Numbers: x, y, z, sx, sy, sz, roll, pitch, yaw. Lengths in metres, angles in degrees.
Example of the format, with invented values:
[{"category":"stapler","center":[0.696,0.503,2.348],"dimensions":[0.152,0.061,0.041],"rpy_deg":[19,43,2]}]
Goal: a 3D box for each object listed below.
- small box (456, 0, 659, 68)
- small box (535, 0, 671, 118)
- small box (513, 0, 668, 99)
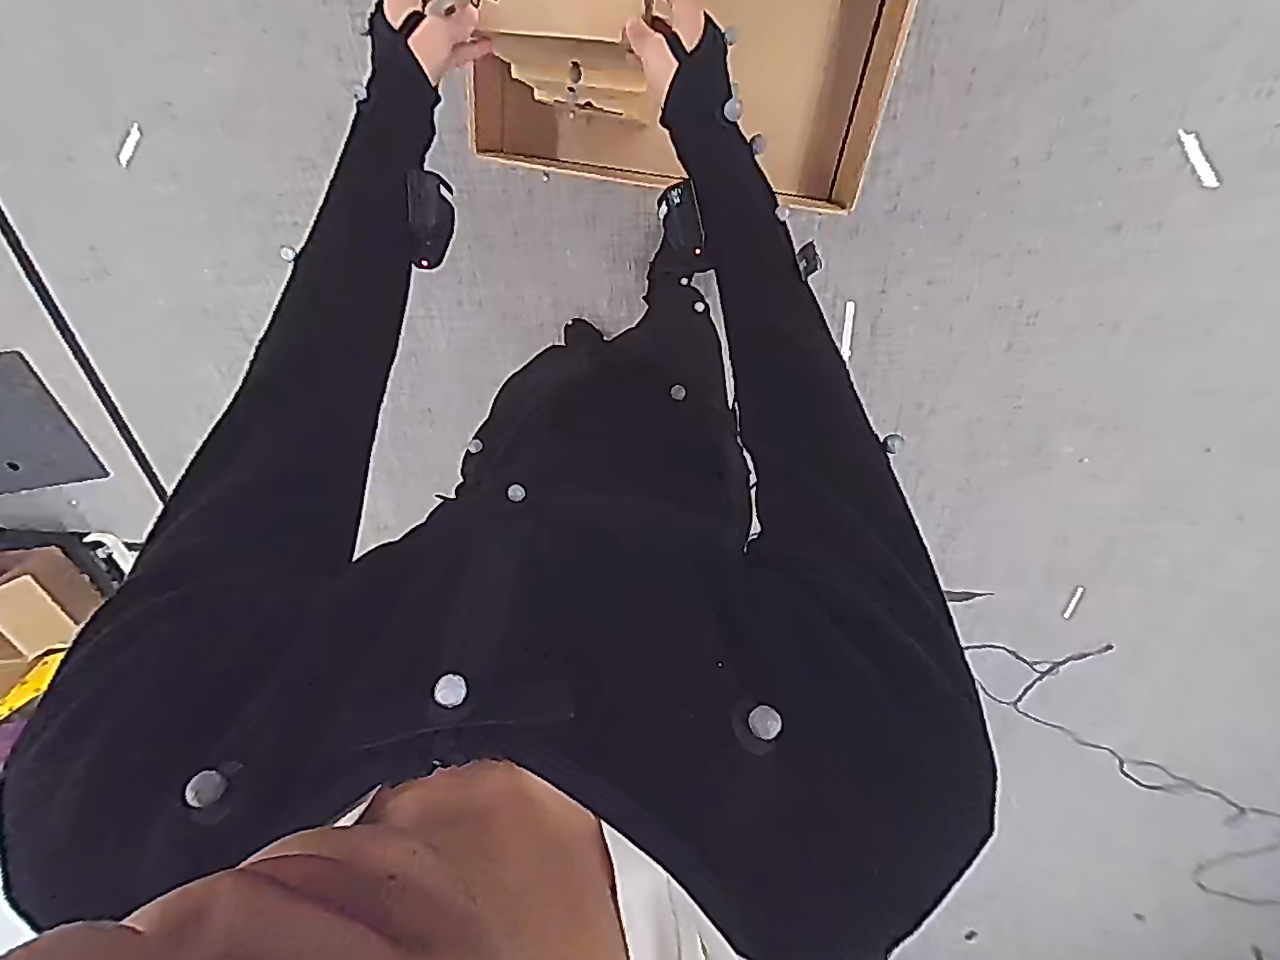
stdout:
[{"category":"small box","center":[-0.066,-0.514,0.516],"dimensions":[0.179,0.176,0.168],"rpy_deg":[7,119,1]},{"category":"small box","center":[-0.050,-0.660,0.808],"dimensions":[0.168,0.176,0.179],"rpy_deg":[11,120,-1]},{"category":"small box","center":[-0.053,-0.587,0.663],"dimensions":[0.168,0.176,0.179],"rpy_deg":[8,120,1]}]
